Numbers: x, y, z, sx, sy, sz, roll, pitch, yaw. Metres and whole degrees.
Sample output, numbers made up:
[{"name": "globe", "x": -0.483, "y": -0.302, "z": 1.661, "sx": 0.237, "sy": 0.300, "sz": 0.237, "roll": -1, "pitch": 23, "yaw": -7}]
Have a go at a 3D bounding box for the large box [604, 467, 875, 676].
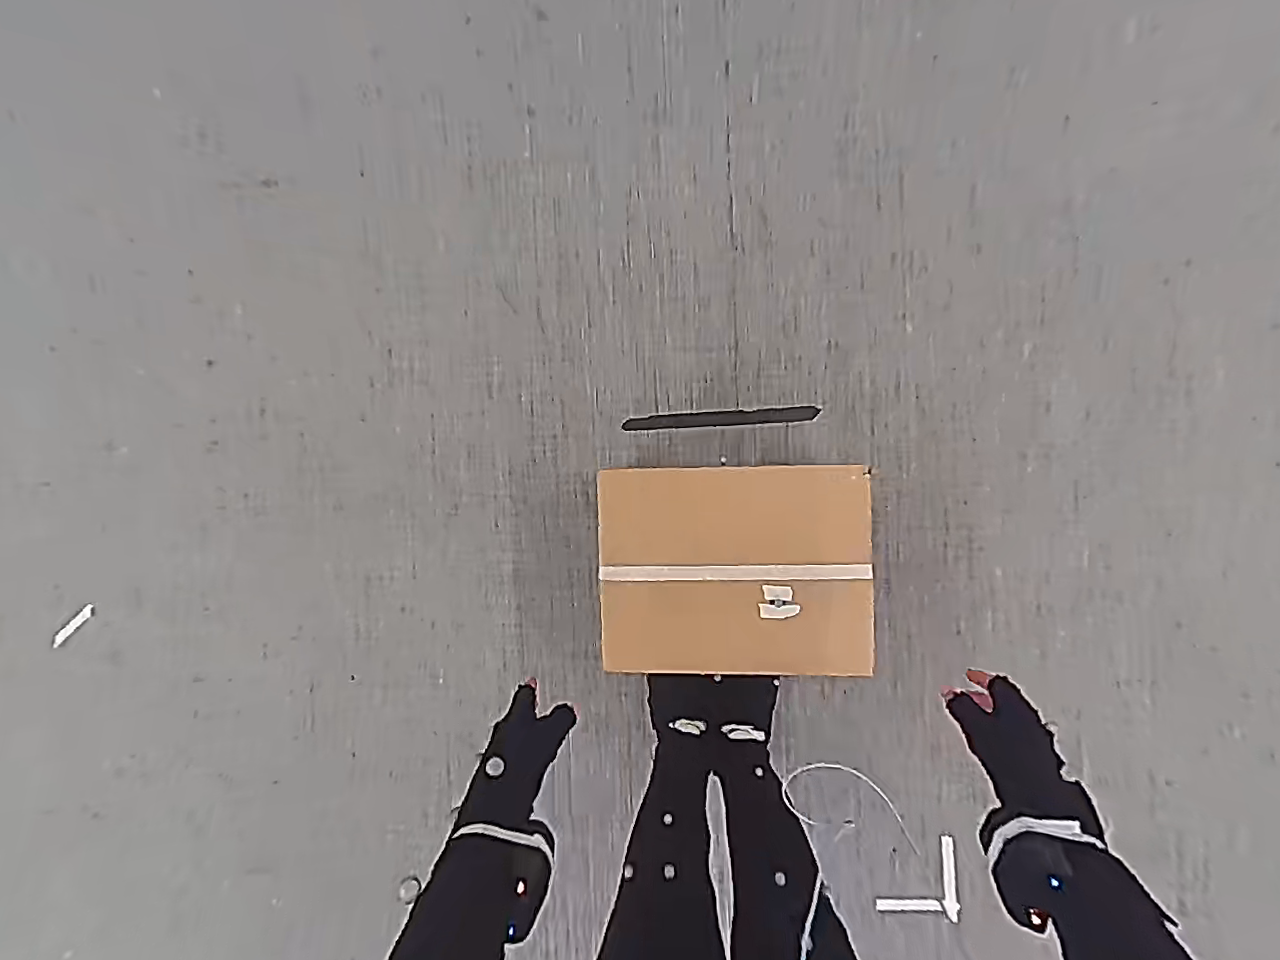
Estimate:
[{"name": "large box", "x": 0.159, "y": 0.141, "z": 0.965, "sx": 0.408, "sy": 0.320, "sz": 0.320, "roll": -1, "pitch": 91, "yaw": 5}]
